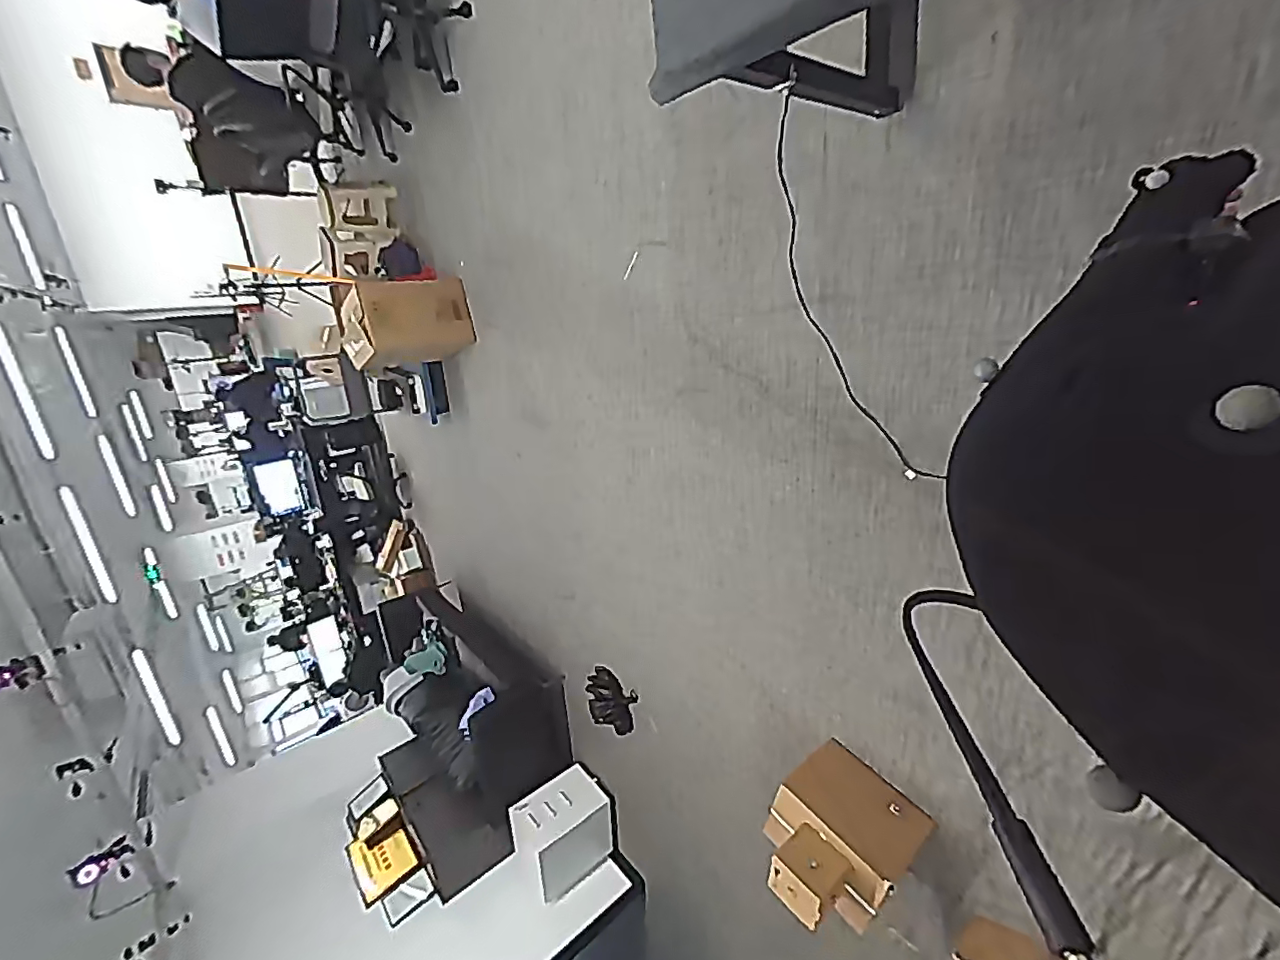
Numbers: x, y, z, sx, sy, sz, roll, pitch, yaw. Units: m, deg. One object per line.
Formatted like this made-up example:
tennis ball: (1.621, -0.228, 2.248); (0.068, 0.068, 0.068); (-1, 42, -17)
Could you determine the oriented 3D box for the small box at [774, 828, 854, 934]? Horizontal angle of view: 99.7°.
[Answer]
small box: (0.554, 1.263, 1.718); (0.179, 0.176, 0.168); (26, 124, 44)
